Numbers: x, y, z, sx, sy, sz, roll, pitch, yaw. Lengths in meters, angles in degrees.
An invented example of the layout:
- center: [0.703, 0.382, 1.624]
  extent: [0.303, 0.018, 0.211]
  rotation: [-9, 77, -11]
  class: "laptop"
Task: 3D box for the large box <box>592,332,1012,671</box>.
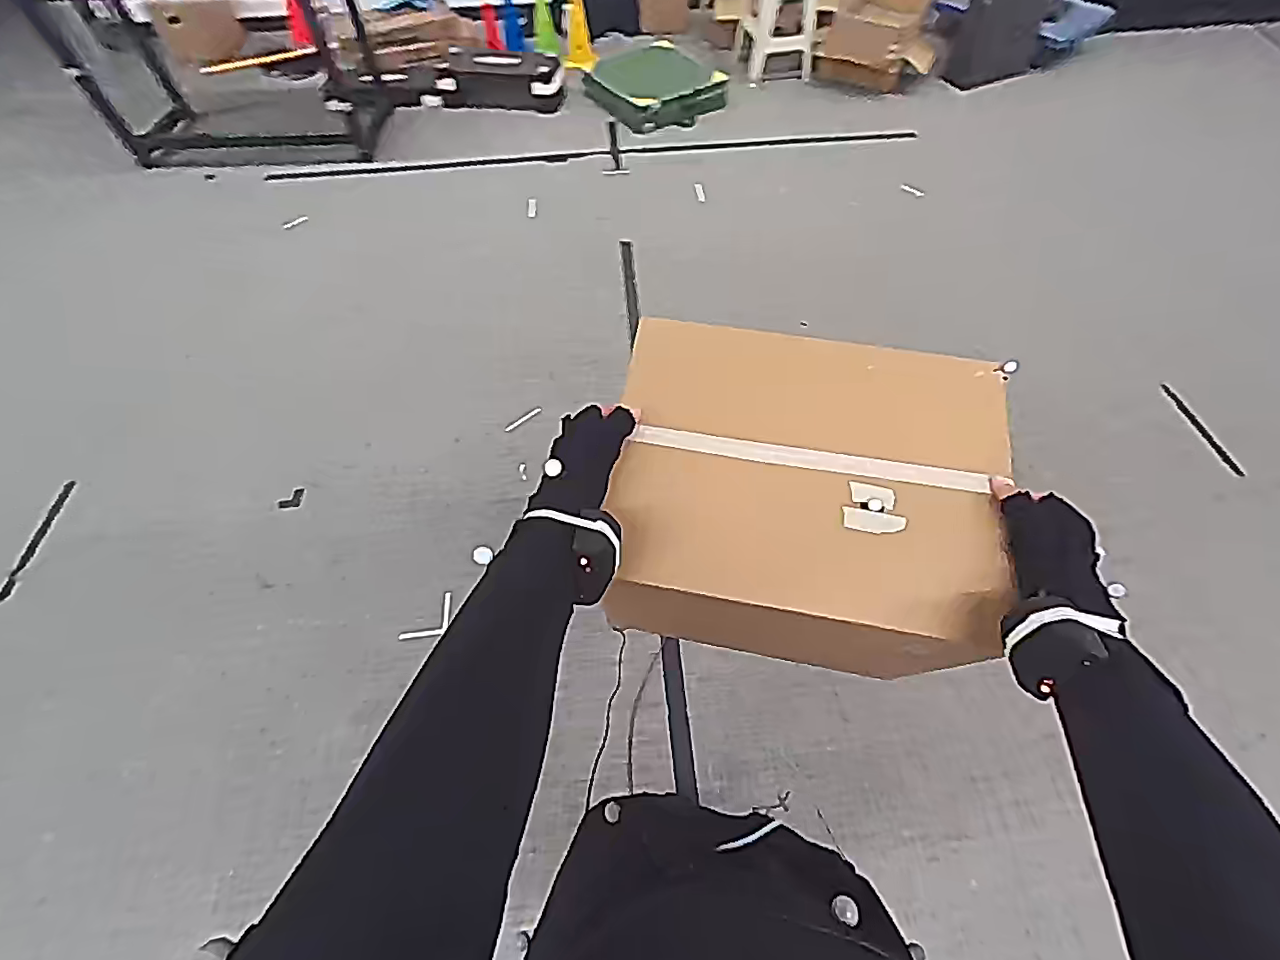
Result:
- center: [0.174, 0.045, 0.706]
  extent: [0.408, 0.320, 0.320]
  rotation: [9, 67, 6]
  class: "large box"
